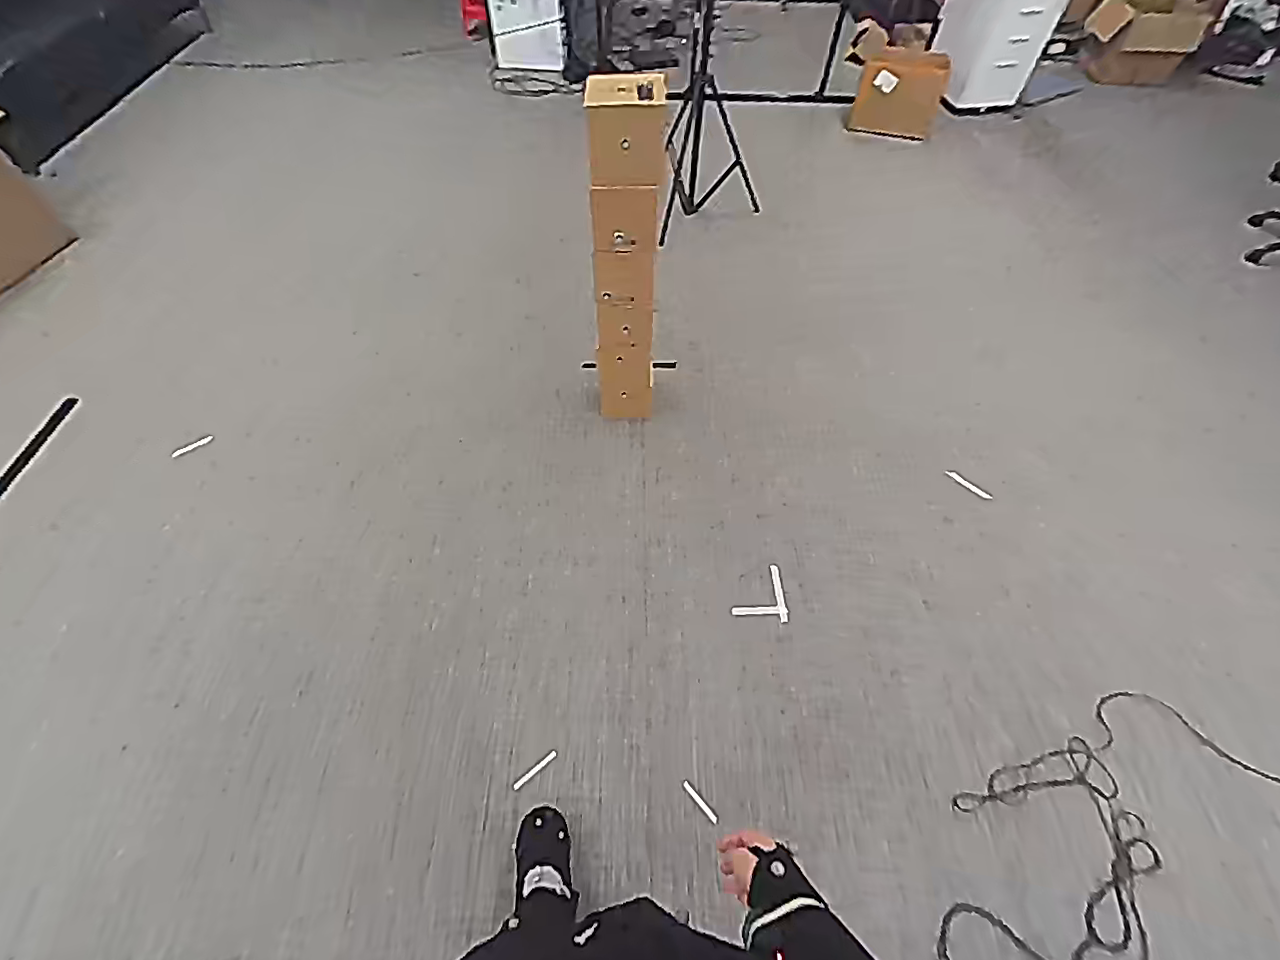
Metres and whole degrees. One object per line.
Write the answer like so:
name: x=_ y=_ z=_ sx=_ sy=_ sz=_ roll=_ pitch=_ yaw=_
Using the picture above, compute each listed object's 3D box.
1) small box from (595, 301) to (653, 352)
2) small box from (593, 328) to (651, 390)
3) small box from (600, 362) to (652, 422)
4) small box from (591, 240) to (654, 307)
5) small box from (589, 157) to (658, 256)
small box: x=-0.043 y=-0.506 z=1.643 sx=0.168 sy=0.176 sz=0.179 roll=2 pitch=56 yaw=0
small box: x=-0.054 y=-0.410 z=1.775 sx=0.179 sy=0.176 sz=0.168 roll=2 pitch=56 yaw=1
small box: x=-0.049 y=-0.319 z=1.912 sx=0.179 sy=0.176 sz=0.168 roll=0 pitch=55 yaw=-1
small box: x=-0.045 y=-0.601 z=1.509 sx=0.168 sy=0.176 sz=0.179 roll=1 pitch=54 yaw=0
small box: x=-0.040 y=-0.694 z=1.376 sx=0.168 sy=0.176 sz=0.179 roll=-1 pitch=56 yaw=0
